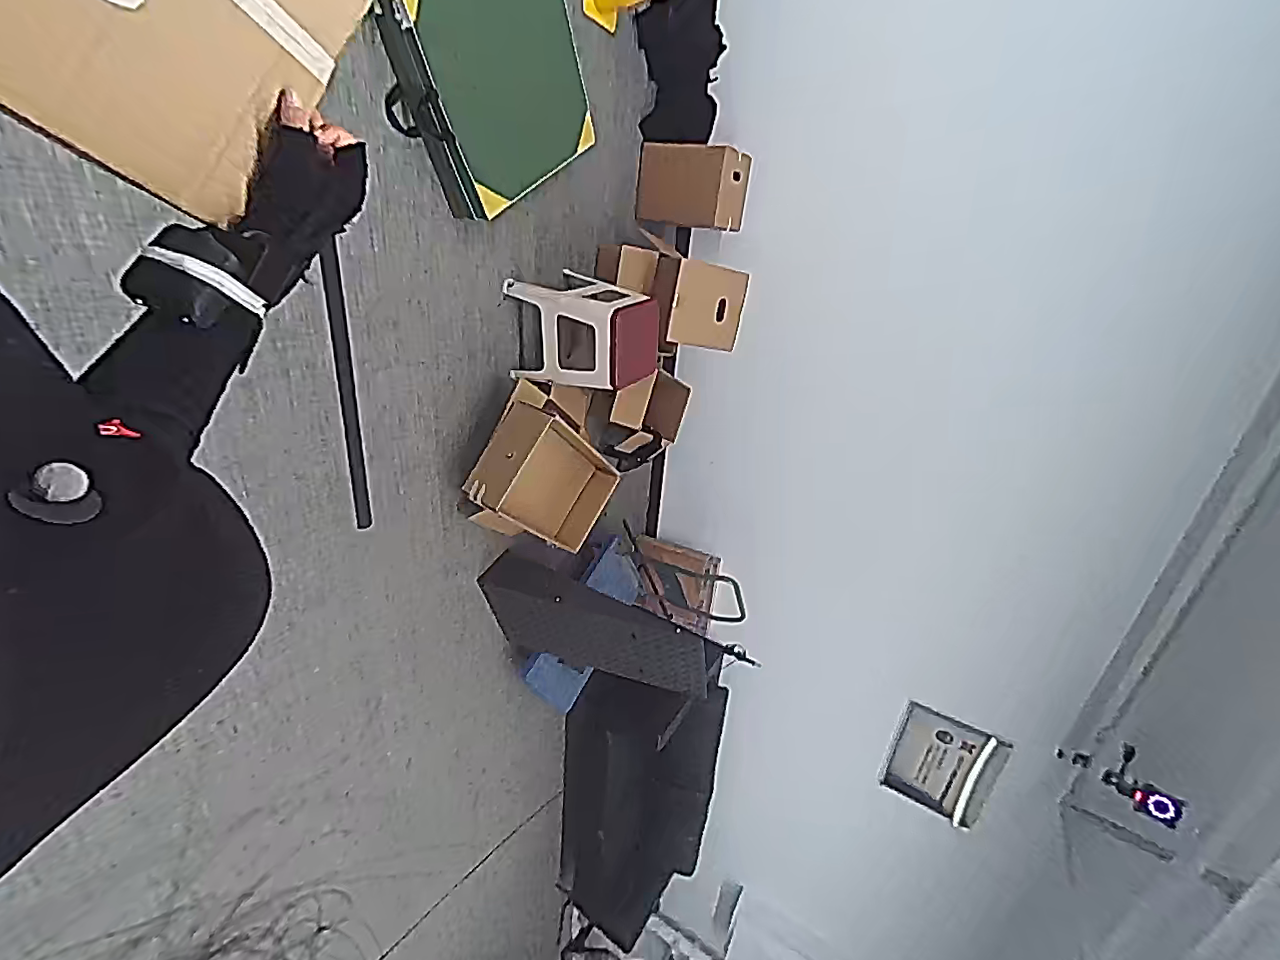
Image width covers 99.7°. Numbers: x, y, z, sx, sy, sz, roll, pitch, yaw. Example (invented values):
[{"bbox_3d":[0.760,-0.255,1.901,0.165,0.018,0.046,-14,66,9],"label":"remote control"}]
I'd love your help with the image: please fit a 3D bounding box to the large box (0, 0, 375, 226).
[{"bbox_3d":[-0.461,-0.453,0.358,0.320,0.320,0.408,-59,151,0],"label":"large box"}]
